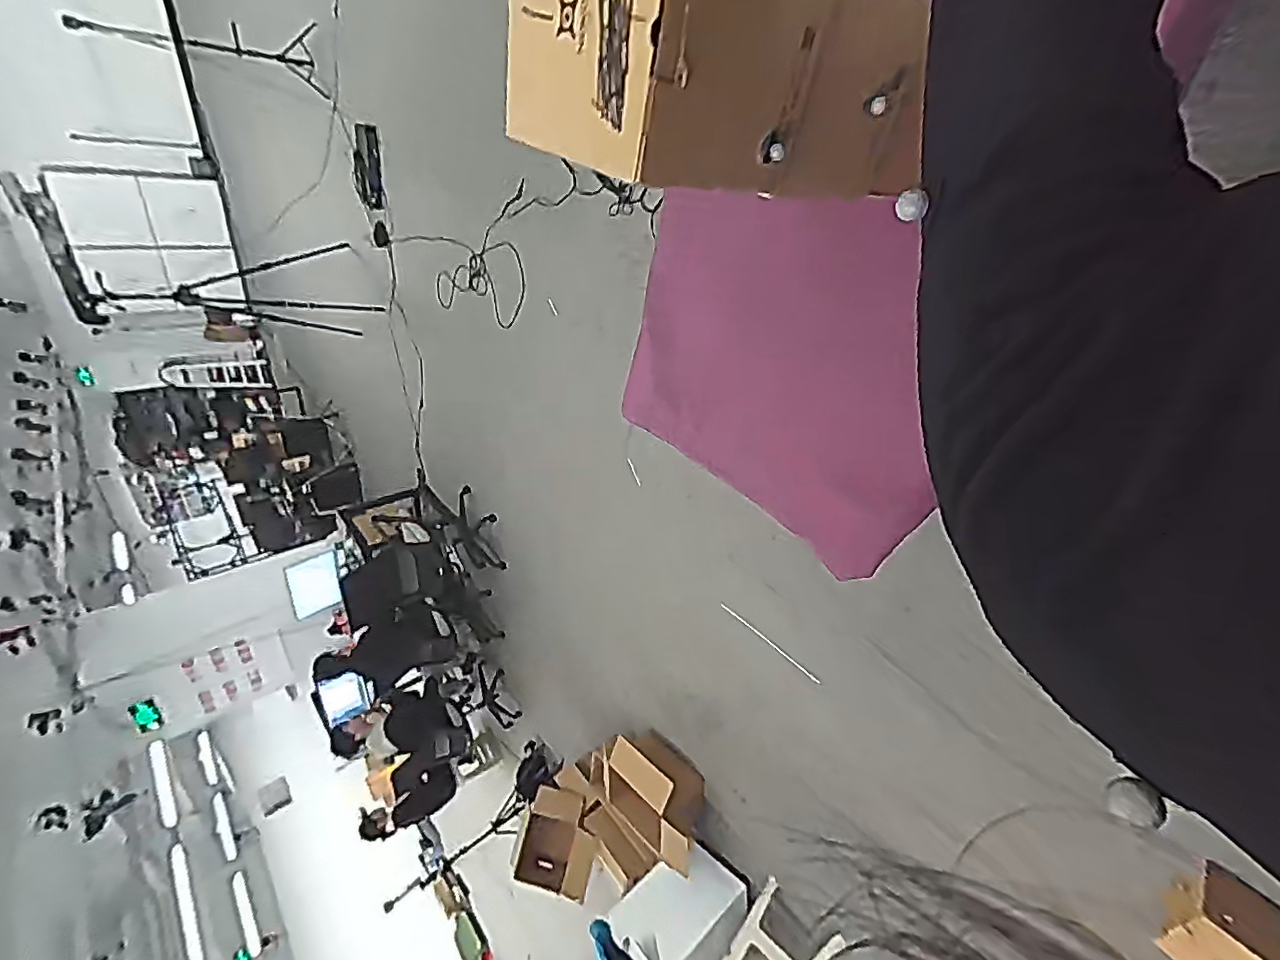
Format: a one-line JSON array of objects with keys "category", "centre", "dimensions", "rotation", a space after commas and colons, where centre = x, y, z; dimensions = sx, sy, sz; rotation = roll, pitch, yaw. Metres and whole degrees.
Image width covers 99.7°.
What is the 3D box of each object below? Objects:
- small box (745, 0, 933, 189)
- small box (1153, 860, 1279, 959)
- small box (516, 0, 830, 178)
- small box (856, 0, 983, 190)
[{"category": "small box", "centre": [0.138, -0.392, 0.526], "dimensions": [0.179, 0.176, 0.168], "rotation": [39, 134, 33]}, {"category": "small box", "centre": [1.302, 1.002, 1.194], "dimensions": [0.179, 0.176, 0.168], "rotation": [36, 131, 36]}, {"category": "small box", "centre": [0.023, -0.344, 0.419], "dimensions": [0.179, 0.176, 0.168], "rotation": [41, 135, 33]}, {"category": "small box", "centre": [0.250, -0.449, 0.631], "dimensions": [0.179, 0.176, 0.168], "rotation": [40, 134, 32]}]
